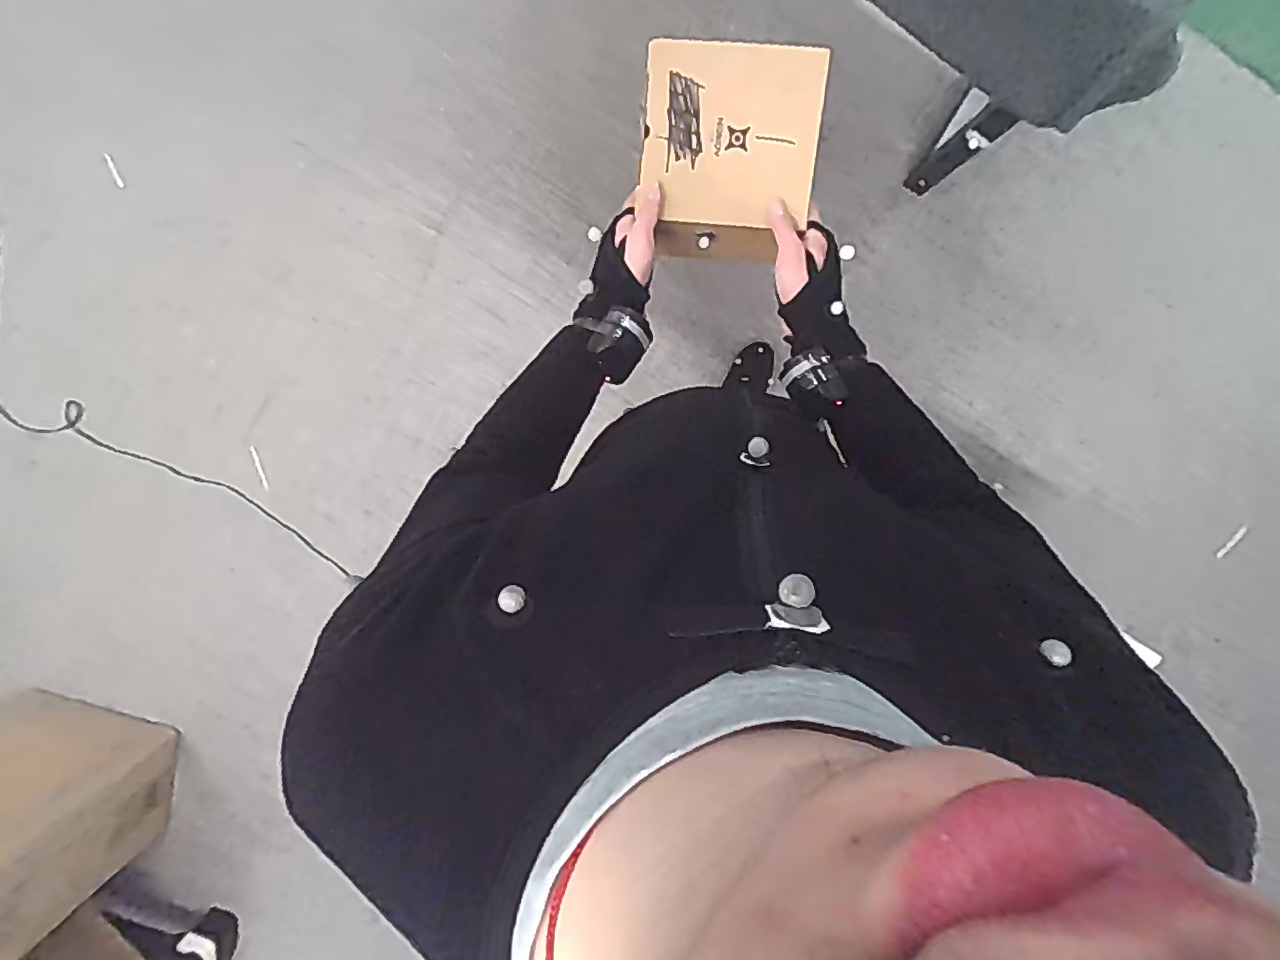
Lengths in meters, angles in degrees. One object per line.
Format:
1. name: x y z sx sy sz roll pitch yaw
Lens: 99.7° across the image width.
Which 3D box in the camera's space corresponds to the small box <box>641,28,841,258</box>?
1. small box: 0.099 -0.354 0.601 0.179 0.176 0.168 6 102 2
